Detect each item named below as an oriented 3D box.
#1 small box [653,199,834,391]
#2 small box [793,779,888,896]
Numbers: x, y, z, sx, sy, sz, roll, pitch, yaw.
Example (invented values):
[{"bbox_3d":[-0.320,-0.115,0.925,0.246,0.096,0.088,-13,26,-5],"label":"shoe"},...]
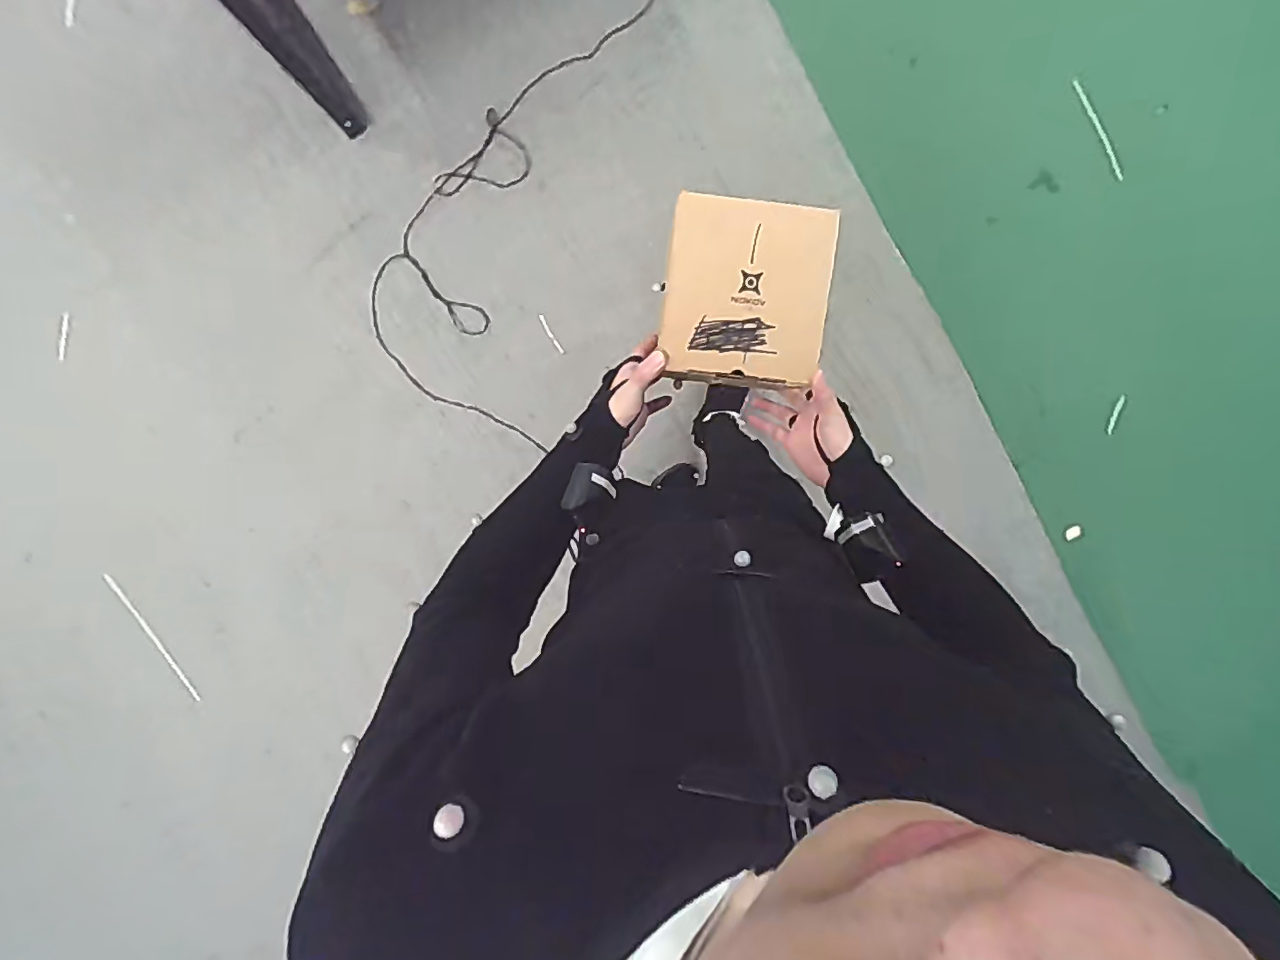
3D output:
[{"bbox_3d":[0.105,-0.200,0.632,0.168,0.176,0.179,5,99,-2],"label":"small box"},{"bbox_3d":[0.476,0.838,1.242,0.168,0.176,0.179,-24,96,1],"label":"small box"}]
